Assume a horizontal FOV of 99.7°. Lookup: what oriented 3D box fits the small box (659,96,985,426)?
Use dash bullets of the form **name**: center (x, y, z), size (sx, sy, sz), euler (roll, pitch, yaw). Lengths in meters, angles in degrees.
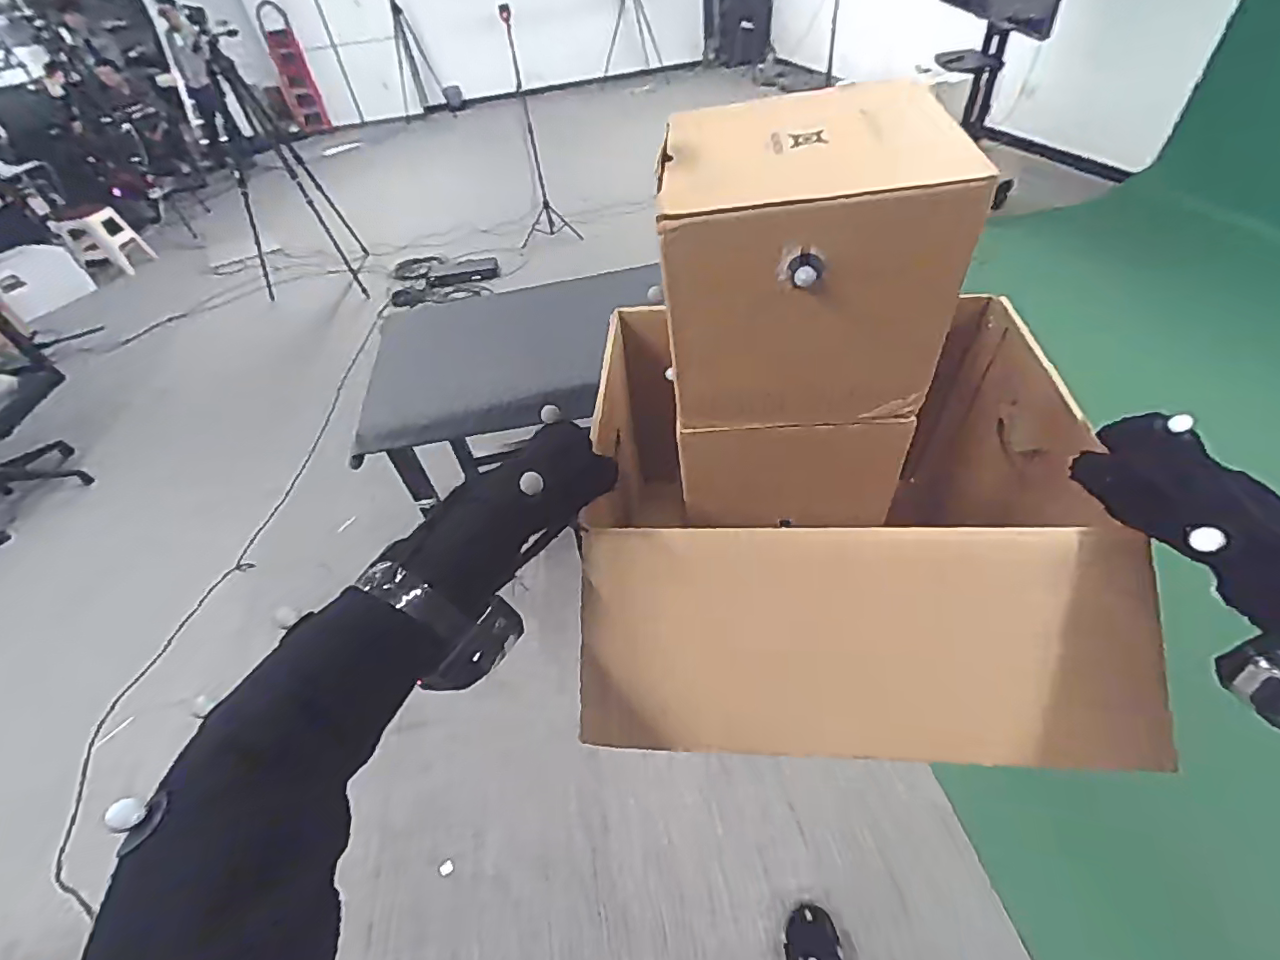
- **small box**: center (0.111, -0.154, 0.404), size (0.179, 0.176, 0.168), euler (-3, 50, 7)
